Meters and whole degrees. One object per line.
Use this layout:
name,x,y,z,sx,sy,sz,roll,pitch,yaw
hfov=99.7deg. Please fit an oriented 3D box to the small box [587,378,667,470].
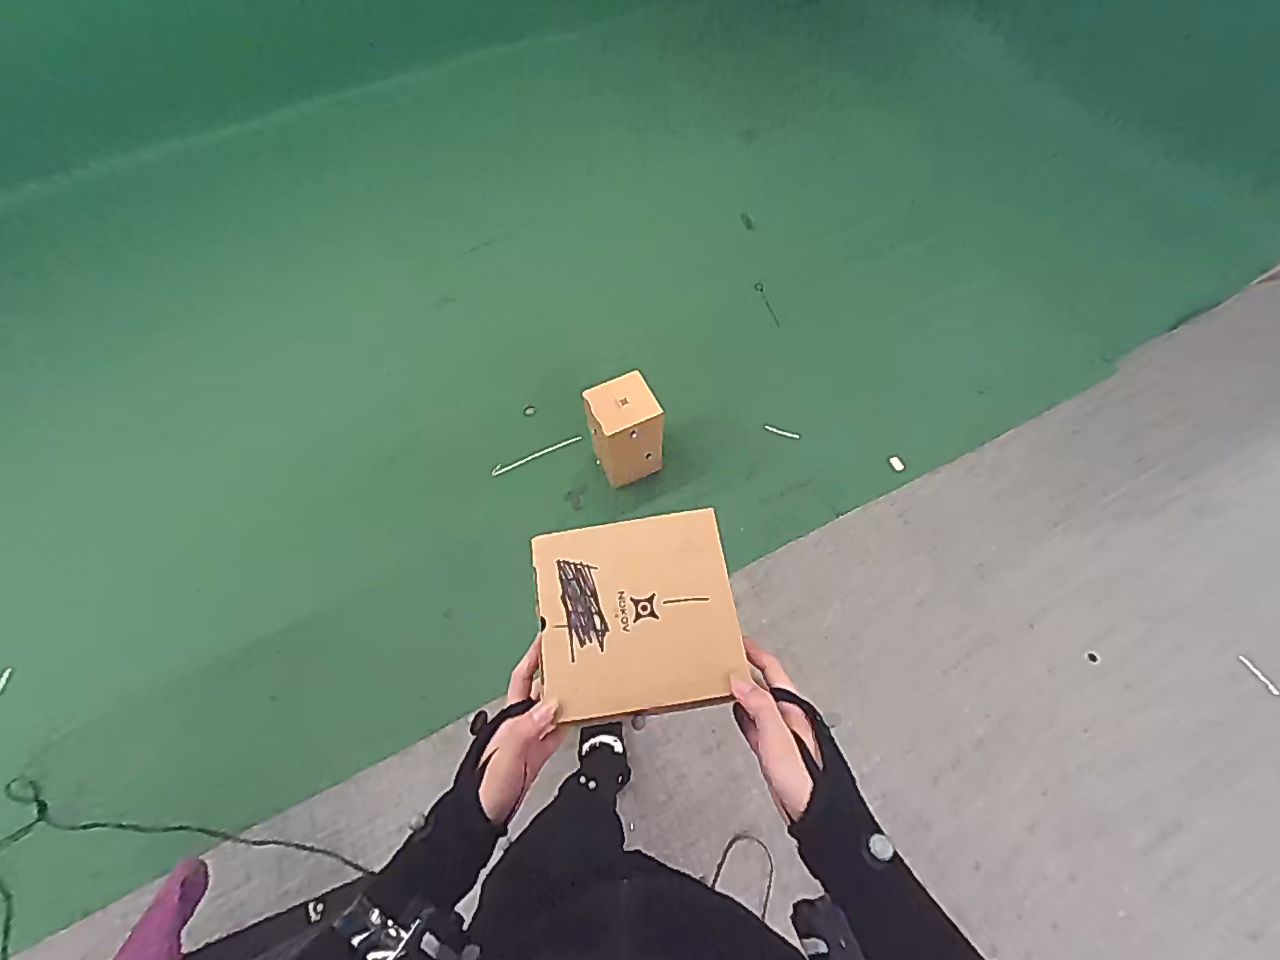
small box,-0.037,-0.158,1.564,0.179,0.176,0.168,-24,64,-10

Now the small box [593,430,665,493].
small box,-0.034,-0.085,1.708,0.179,0.176,0.168,-23,64,-11

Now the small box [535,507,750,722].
small box,0.002,0.144,0.548,0.179,0.176,0.168,-9,64,0
